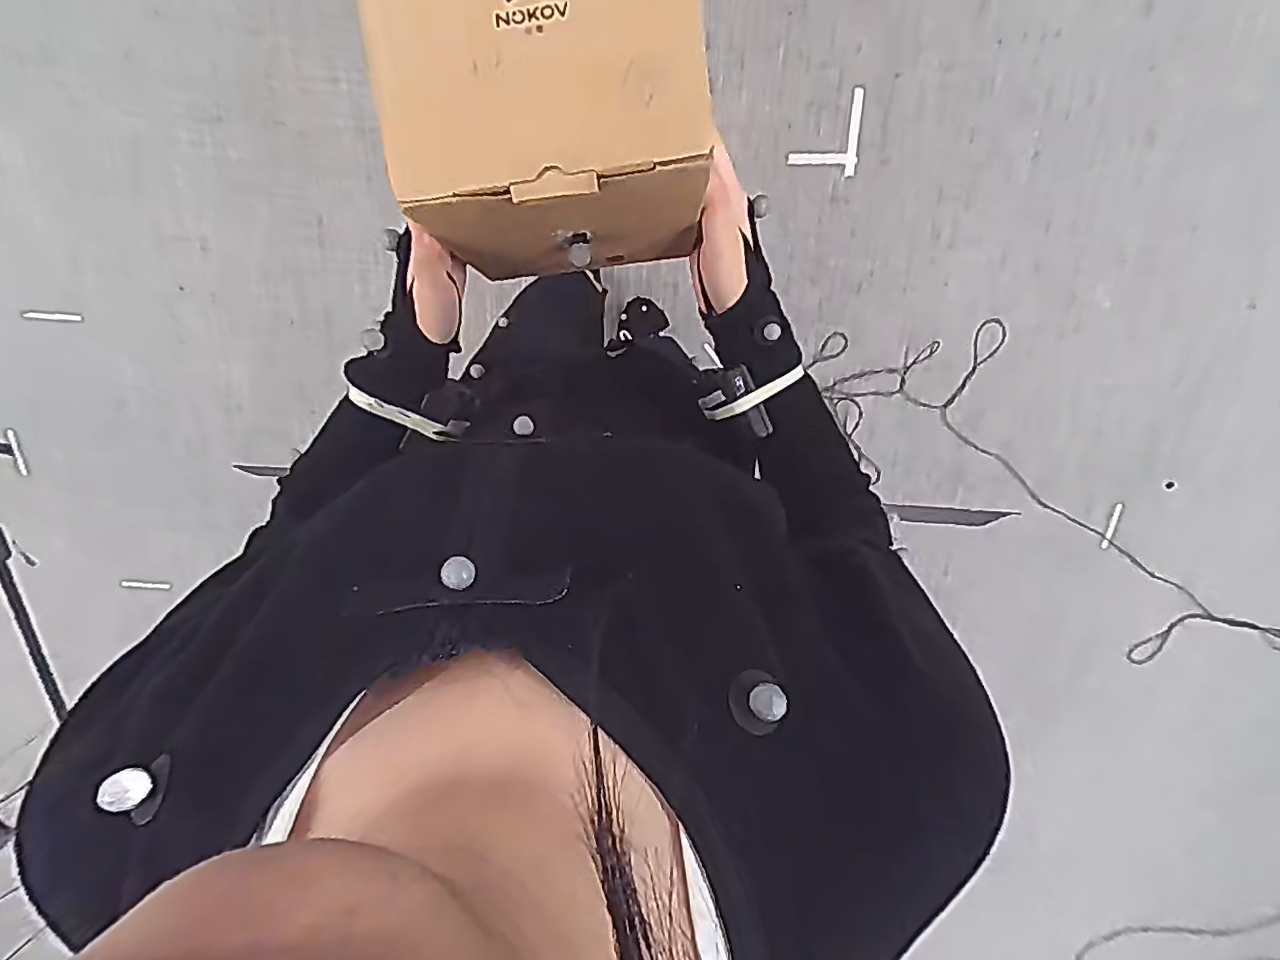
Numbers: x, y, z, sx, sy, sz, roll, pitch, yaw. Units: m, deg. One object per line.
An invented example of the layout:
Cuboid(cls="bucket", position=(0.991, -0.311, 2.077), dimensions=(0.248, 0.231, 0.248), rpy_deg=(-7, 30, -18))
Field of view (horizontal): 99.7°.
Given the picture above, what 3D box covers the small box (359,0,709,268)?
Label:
Cuboid(cls="small box", position=(-0.052, -0.243, 0.340), dimensions=(0.168, 0.176, 0.179), rpy_deg=(-7, 98, 2))
